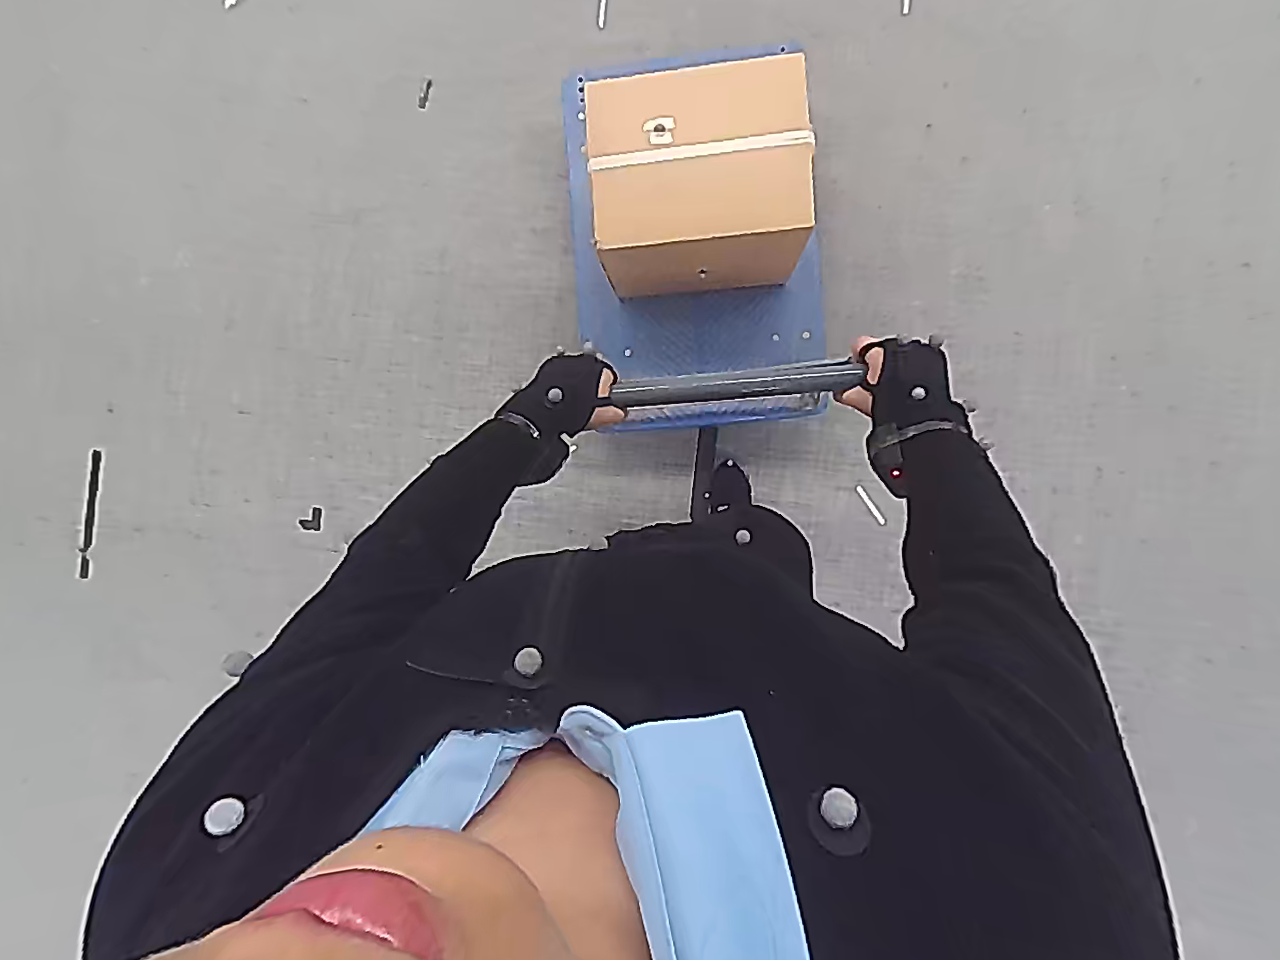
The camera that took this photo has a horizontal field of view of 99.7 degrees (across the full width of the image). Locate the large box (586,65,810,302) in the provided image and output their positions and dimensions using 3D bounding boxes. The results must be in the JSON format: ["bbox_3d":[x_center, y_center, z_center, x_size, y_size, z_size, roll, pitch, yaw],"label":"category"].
[{"bbox_3d":[0.123,-0.598,1.161,0.408,0.320,0.320,-4,90,7],"label":"large box"}]
